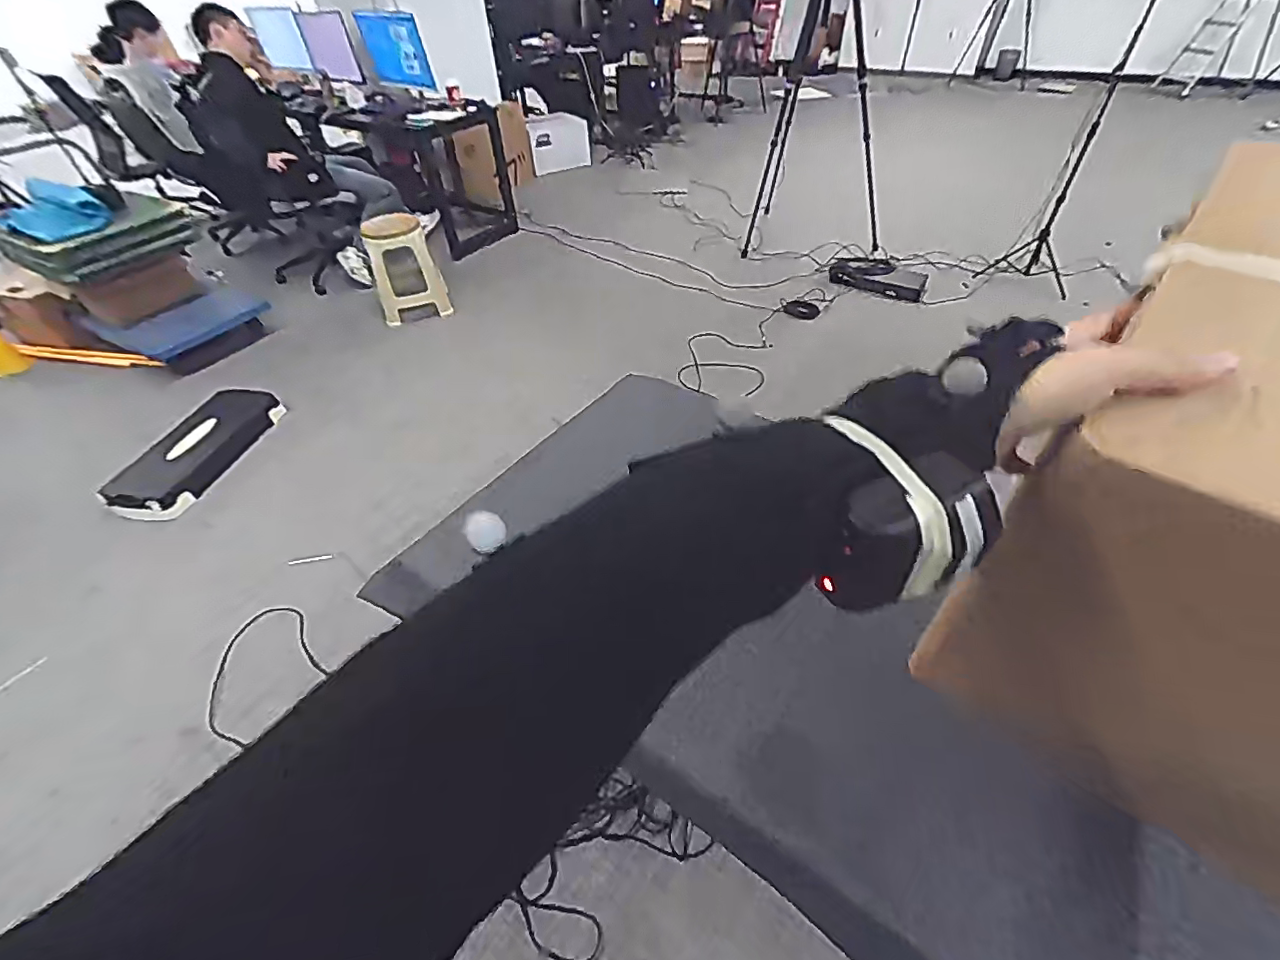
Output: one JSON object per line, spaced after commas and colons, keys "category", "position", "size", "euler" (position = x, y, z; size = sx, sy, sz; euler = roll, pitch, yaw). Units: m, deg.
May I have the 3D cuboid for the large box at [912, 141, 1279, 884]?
{"category": "large box", "position": [0.456, 0.054, 0.321], "size": [0.408, 0.320, 0.320], "euler": [31, 65, 28]}
